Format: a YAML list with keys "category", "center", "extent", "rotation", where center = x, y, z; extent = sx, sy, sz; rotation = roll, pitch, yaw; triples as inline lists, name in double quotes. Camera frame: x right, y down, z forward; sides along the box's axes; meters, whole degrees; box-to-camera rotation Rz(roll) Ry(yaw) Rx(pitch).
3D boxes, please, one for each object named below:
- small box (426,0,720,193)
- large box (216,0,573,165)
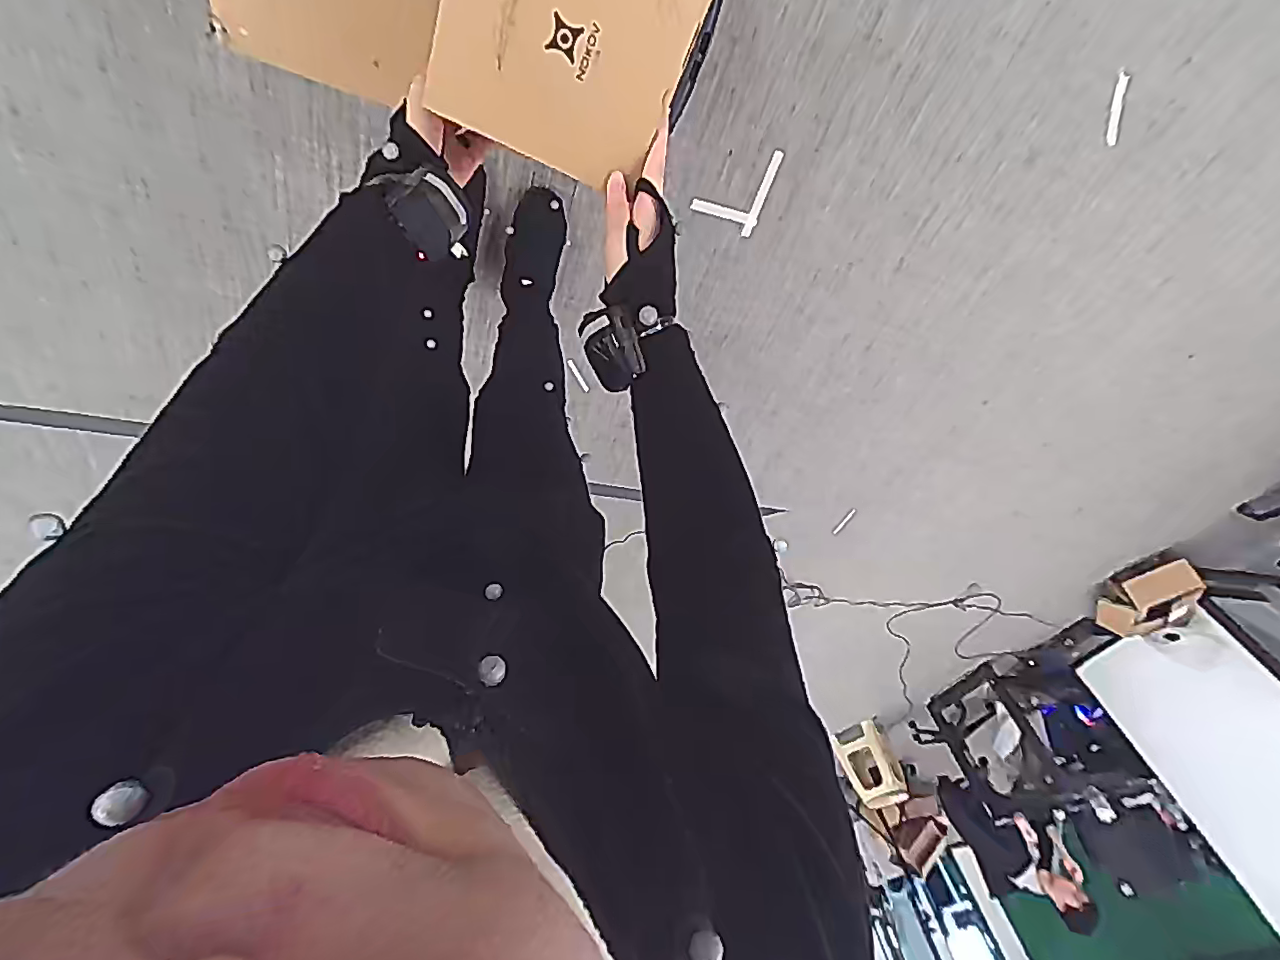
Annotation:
- category: "small box"
  center: [-0.061, -0.372, 0.442]
  extent: [0.179, 0.176, 0.168]
  rotation: [14, 123, -25]
- category: "large box"
  center: [-0.170, -0.586, 0.571]
  extent: [0.408, 0.320, 0.320]
  rotation: [9, 131, -21]
